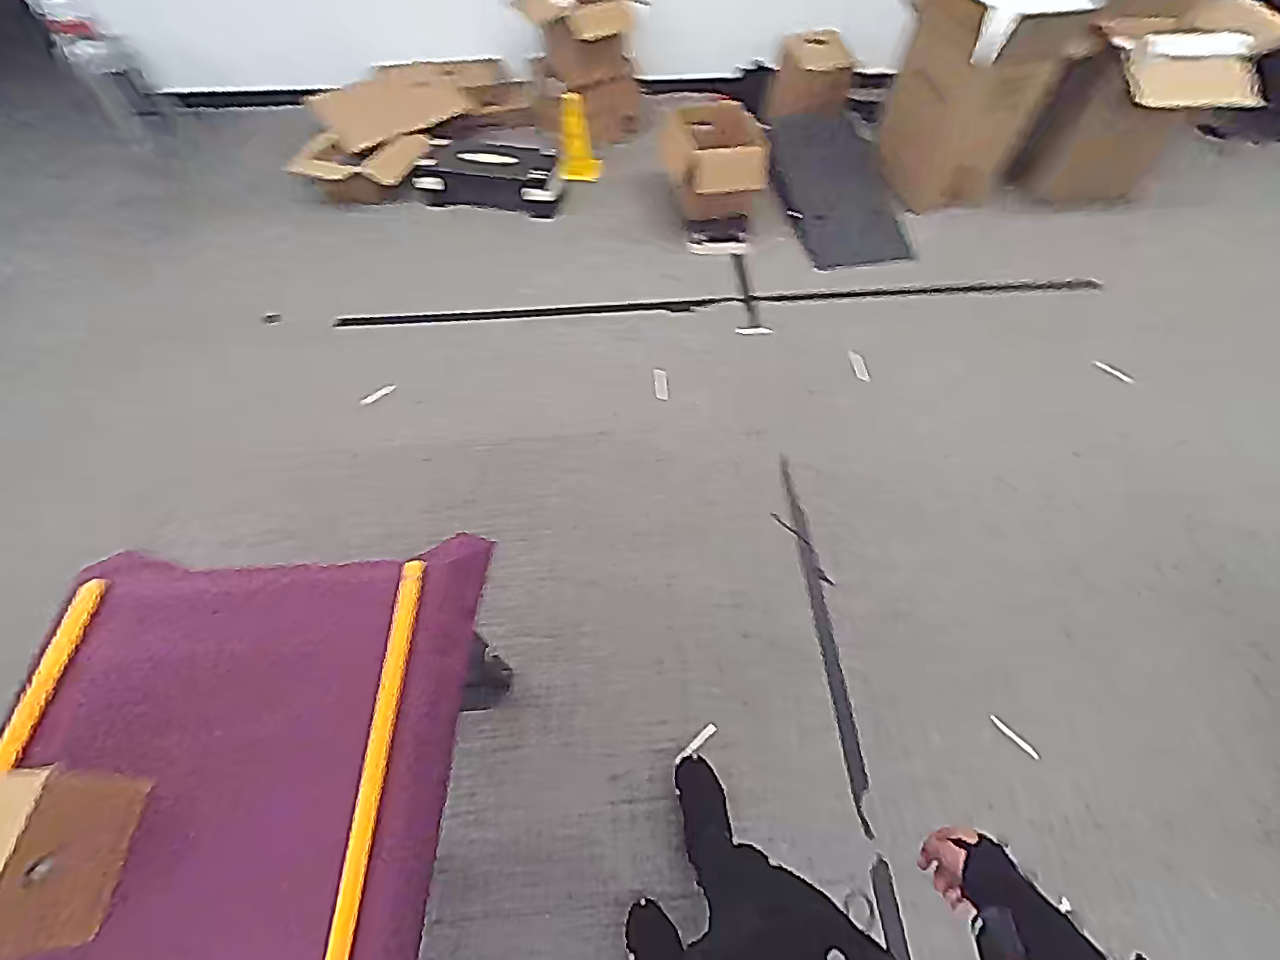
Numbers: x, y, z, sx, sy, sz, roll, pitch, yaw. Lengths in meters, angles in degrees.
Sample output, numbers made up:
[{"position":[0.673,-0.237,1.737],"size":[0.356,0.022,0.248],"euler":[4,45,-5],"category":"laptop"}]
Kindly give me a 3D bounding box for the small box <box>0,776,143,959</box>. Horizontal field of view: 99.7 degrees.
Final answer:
[{"position":[-0.756,0.459,0.641],"size":[0.168,0.176,0.179],"euler":[-2,59,-3],"category":"small box"}]
